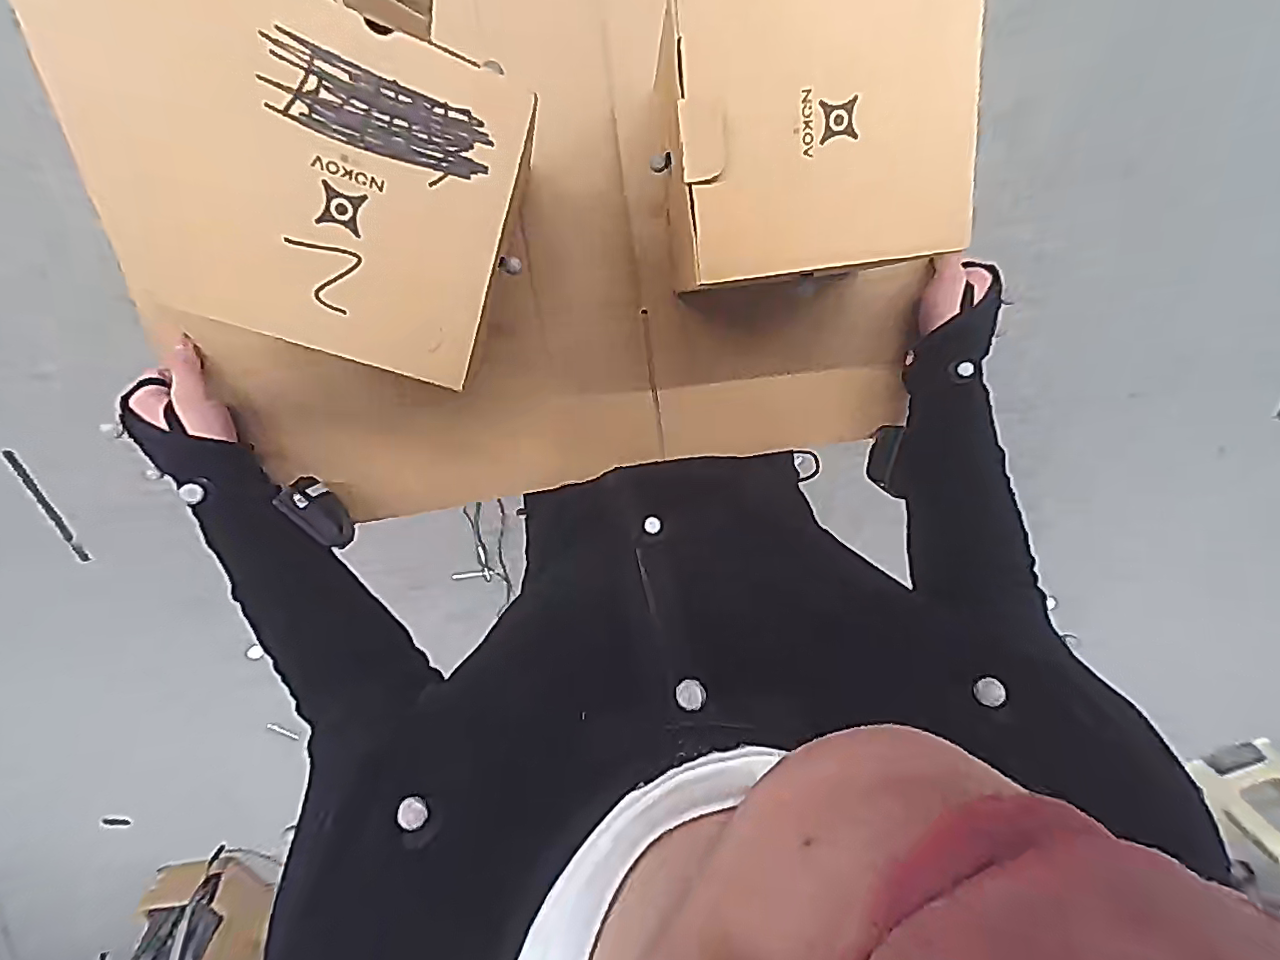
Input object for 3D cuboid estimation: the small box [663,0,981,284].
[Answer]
[{"bbox_3d":[0.117,-0.246,0.408,0.179,0.176,0.168,-8,108,1],"label":"small box"}]
